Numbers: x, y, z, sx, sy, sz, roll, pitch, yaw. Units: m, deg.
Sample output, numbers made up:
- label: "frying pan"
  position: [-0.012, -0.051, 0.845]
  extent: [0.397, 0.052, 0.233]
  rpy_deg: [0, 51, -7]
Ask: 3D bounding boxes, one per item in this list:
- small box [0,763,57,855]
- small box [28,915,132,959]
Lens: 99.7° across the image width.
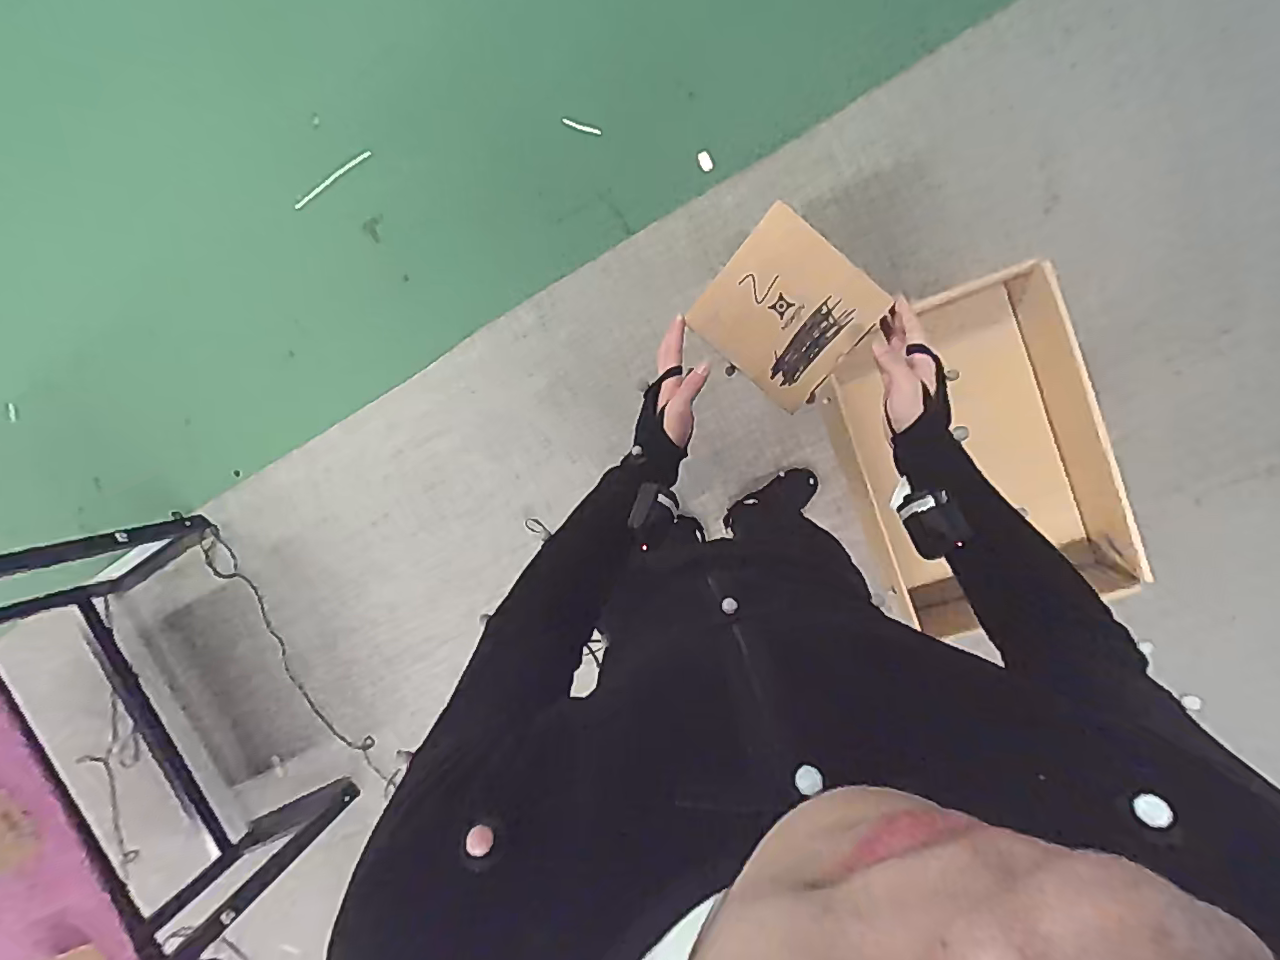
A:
- label: "small box"
  position: [-1.537, 0.802, 1.257]
  extent: [0.179, 0.176, 0.168]
  rpy_deg: [-27, 93, 15]
- label: "small box"
  position: [-1.350, 1.174, 1.270]
  extent: [0.179, 0.176, 0.168]
  rpy_deg: [-27, 92, 16]
